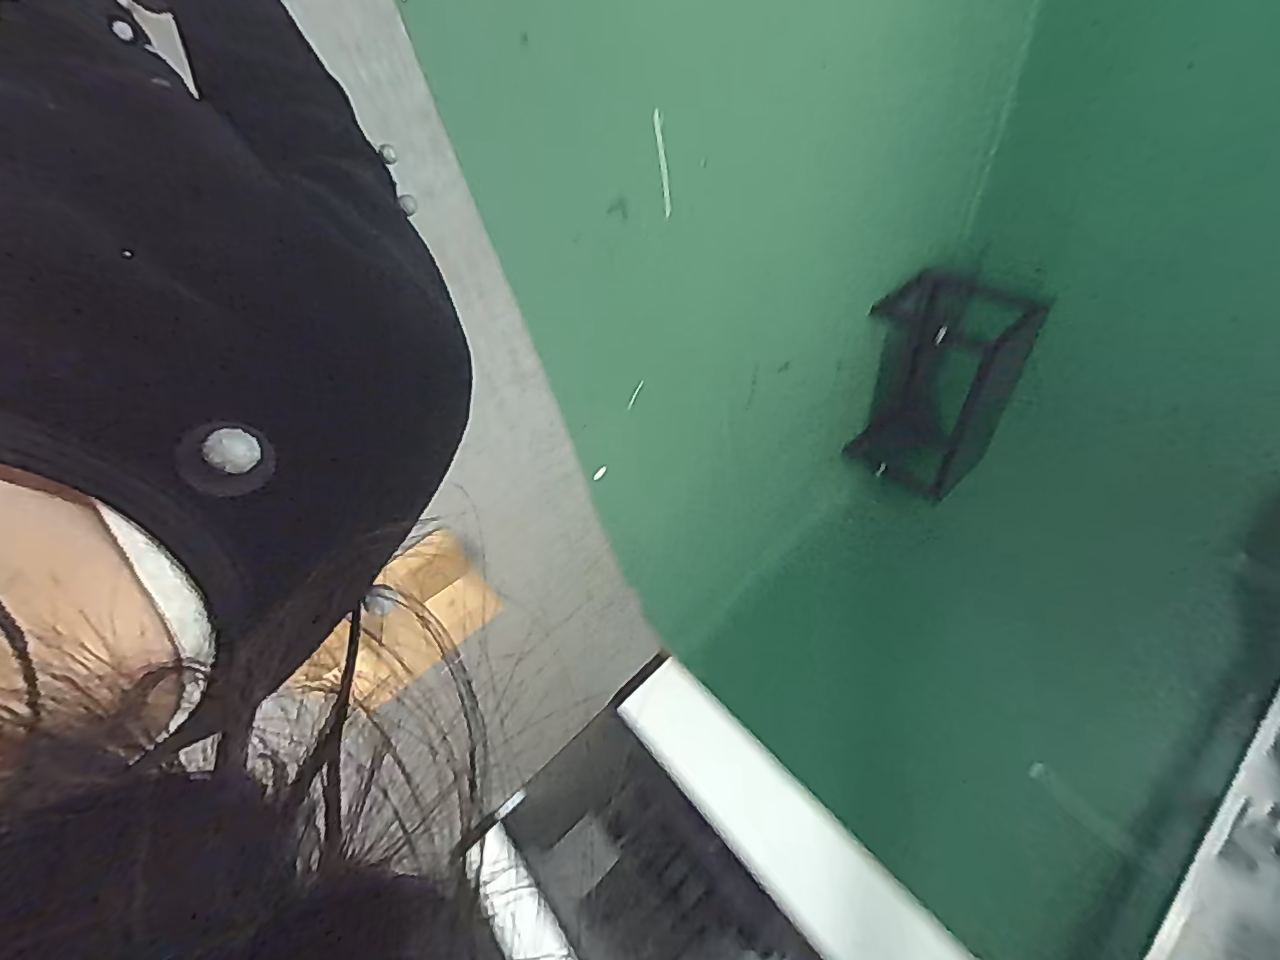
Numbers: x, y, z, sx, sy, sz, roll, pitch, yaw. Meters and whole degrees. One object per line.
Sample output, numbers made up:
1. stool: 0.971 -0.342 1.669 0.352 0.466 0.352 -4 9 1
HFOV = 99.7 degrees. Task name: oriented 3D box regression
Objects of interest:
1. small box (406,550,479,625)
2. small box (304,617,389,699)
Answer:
1. small box: -0.713 0.378 1.945 0.168 0.176 0.179 -34 141 -23
2. small box: -0.990 0.591 1.820 0.168 0.176 0.179 -35 142 -22
